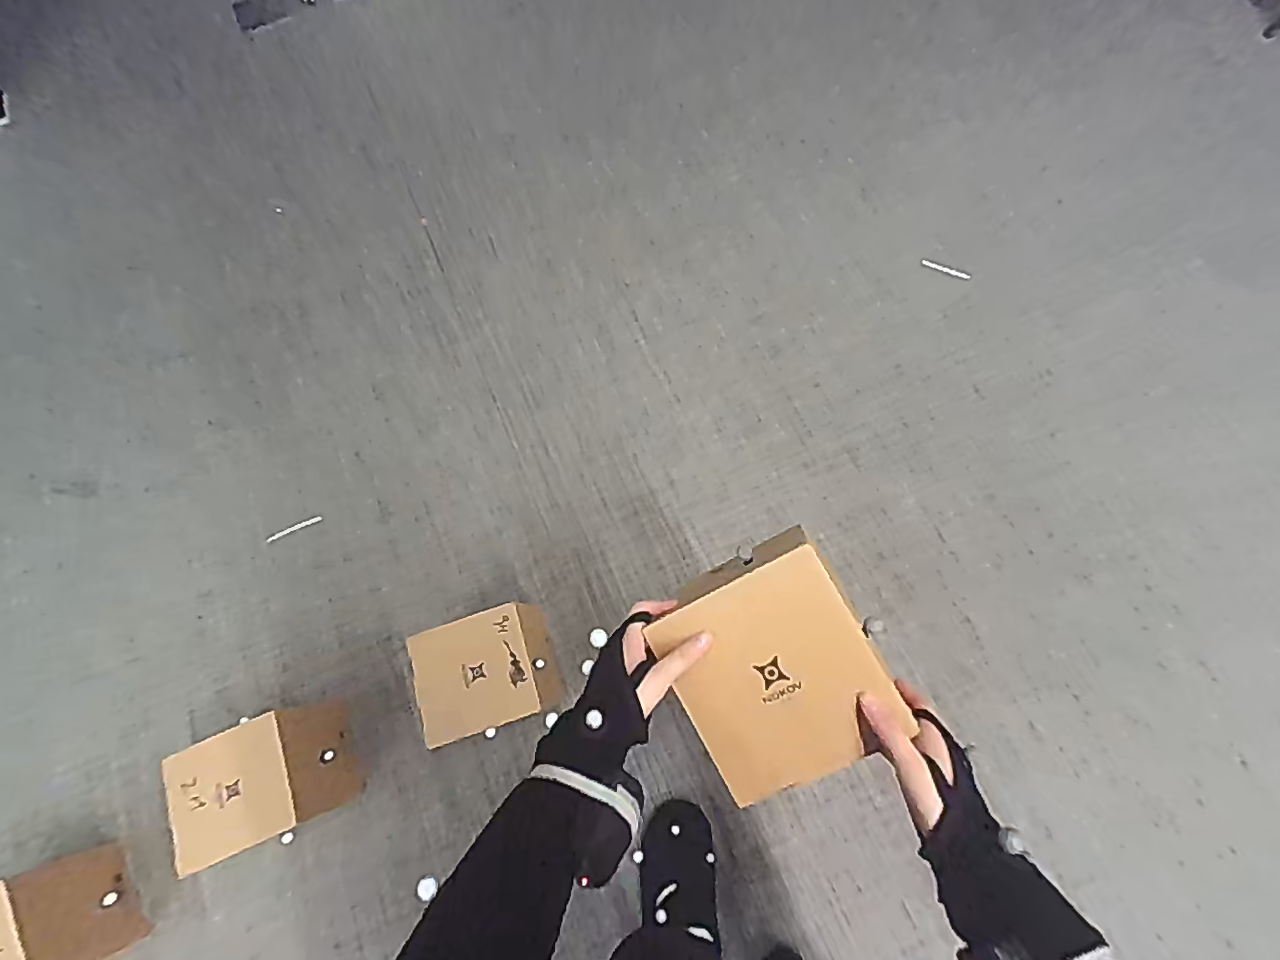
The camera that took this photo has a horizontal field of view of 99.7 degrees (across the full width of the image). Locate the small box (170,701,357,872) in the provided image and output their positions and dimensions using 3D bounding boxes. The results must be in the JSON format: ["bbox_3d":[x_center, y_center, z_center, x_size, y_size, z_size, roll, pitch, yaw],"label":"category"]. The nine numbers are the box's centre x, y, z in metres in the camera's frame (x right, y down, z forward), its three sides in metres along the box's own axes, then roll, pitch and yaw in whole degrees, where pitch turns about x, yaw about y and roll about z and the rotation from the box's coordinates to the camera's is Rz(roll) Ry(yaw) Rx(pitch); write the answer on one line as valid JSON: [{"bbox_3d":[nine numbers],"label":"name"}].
[{"bbox_3d":[-0.578,0.465,0.854,0.179,0.176,0.168,-23,72,-3],"label":"small box"}]

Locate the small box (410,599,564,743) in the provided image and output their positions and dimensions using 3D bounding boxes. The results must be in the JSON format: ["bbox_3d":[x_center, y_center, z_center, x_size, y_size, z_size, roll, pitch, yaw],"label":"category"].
[{"bbox_3d":[-0.240,0.305,0.880,0.179,0.176,0.168,-19,73,-1],"label":"small box"}]

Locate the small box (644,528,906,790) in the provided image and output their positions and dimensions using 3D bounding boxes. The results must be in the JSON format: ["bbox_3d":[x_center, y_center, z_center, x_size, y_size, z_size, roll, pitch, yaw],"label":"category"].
[{"bbox_3d":[0.128,0.159,0.544,0.168,0.176,0.179,-31,85,12],"label":"small box"}]

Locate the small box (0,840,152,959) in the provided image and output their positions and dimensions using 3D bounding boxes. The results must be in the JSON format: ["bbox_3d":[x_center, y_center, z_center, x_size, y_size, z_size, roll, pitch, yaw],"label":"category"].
[{"bbox_3d":[-0.903,0.691,0.808,0.179,0.176,0.168,-35,74,-8],"label":"small box"}]
